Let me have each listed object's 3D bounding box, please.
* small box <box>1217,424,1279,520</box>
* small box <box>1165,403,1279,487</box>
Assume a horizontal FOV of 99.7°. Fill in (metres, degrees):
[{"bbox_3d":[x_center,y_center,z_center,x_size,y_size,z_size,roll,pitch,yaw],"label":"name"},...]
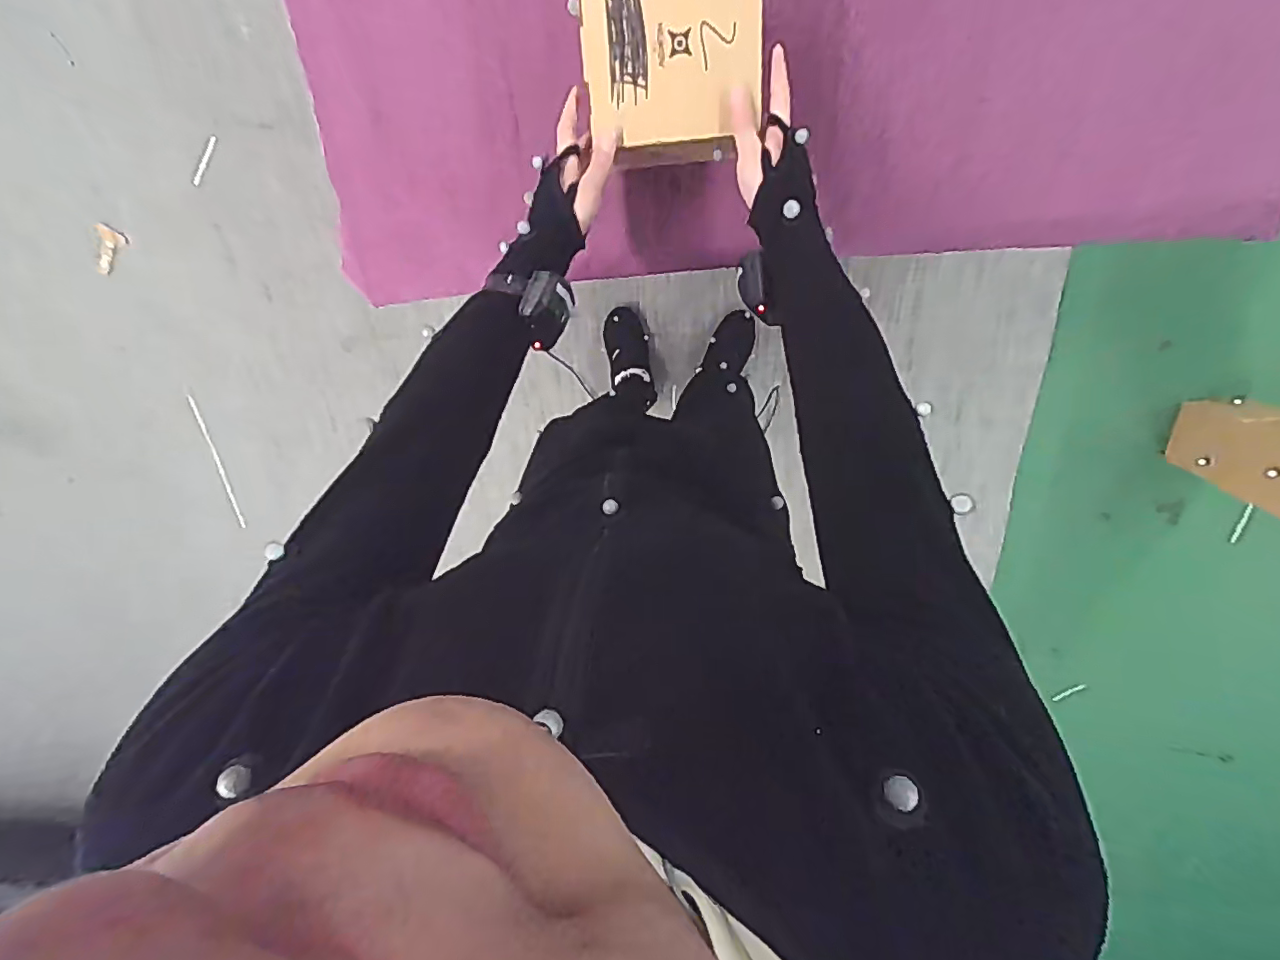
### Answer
[{"bbox_3d":[1.525,-0.023,1.262,0.168,0.176,0.179,-3,113,7],"label":"small box"},{"bbox_3d":[1.536,-0.094,1.408,0.168,0.176,0.179,-1,113,6],"label":"small box"}]
